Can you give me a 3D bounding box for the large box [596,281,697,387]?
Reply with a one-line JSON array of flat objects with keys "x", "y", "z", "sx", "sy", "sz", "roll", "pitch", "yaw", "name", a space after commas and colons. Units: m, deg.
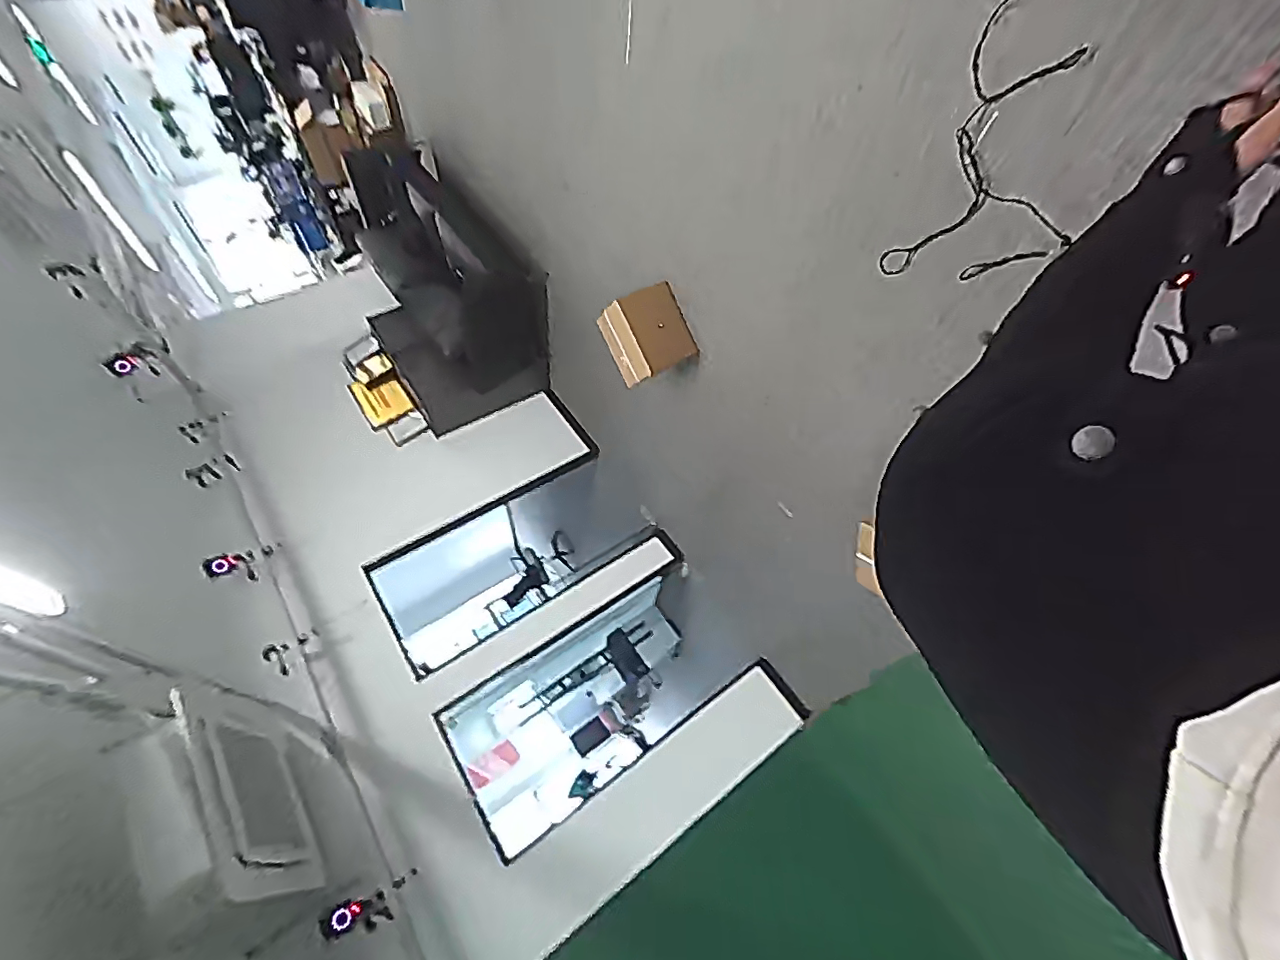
[{"x": 0.033, "y": -0.760, "z": 2.838, "sx": 0.408, "sy": 0.320, "sz": 0.320, "roll": 63, "pitch": 158, "yaw": -7, "name": "large box"}]
